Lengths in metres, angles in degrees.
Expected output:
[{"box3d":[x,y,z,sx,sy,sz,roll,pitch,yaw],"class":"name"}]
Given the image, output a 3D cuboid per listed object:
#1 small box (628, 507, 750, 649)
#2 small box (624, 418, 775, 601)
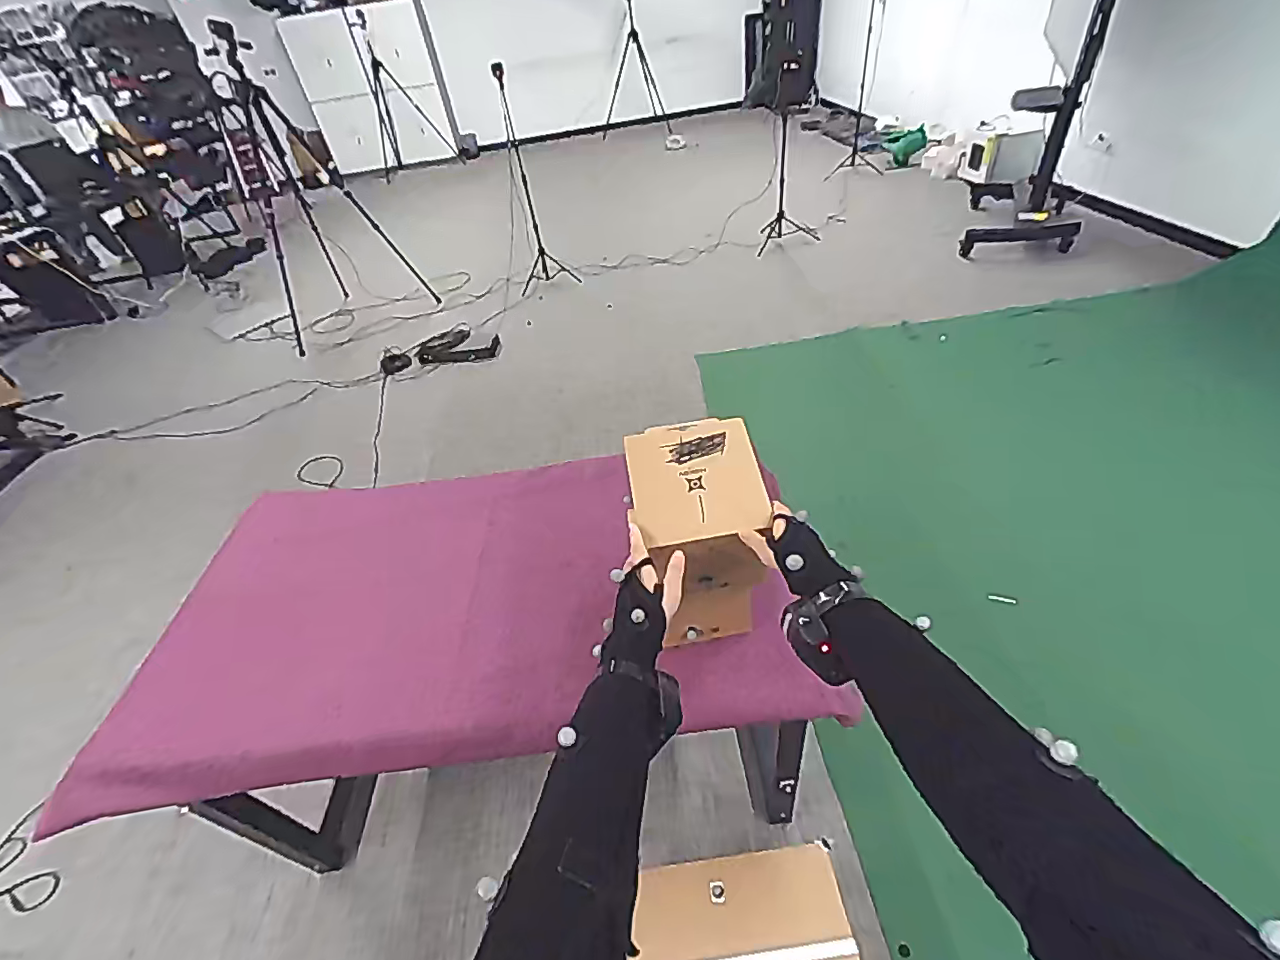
[{"box3d":[0.079,0.148,0.890,0.168,0.176,0.179,-12,42,1],"class":"small box"},{"box3d":[0.076,0.044,0.744,0.168,0.176,0.179,-10,54,1],"class":"small box"}]
